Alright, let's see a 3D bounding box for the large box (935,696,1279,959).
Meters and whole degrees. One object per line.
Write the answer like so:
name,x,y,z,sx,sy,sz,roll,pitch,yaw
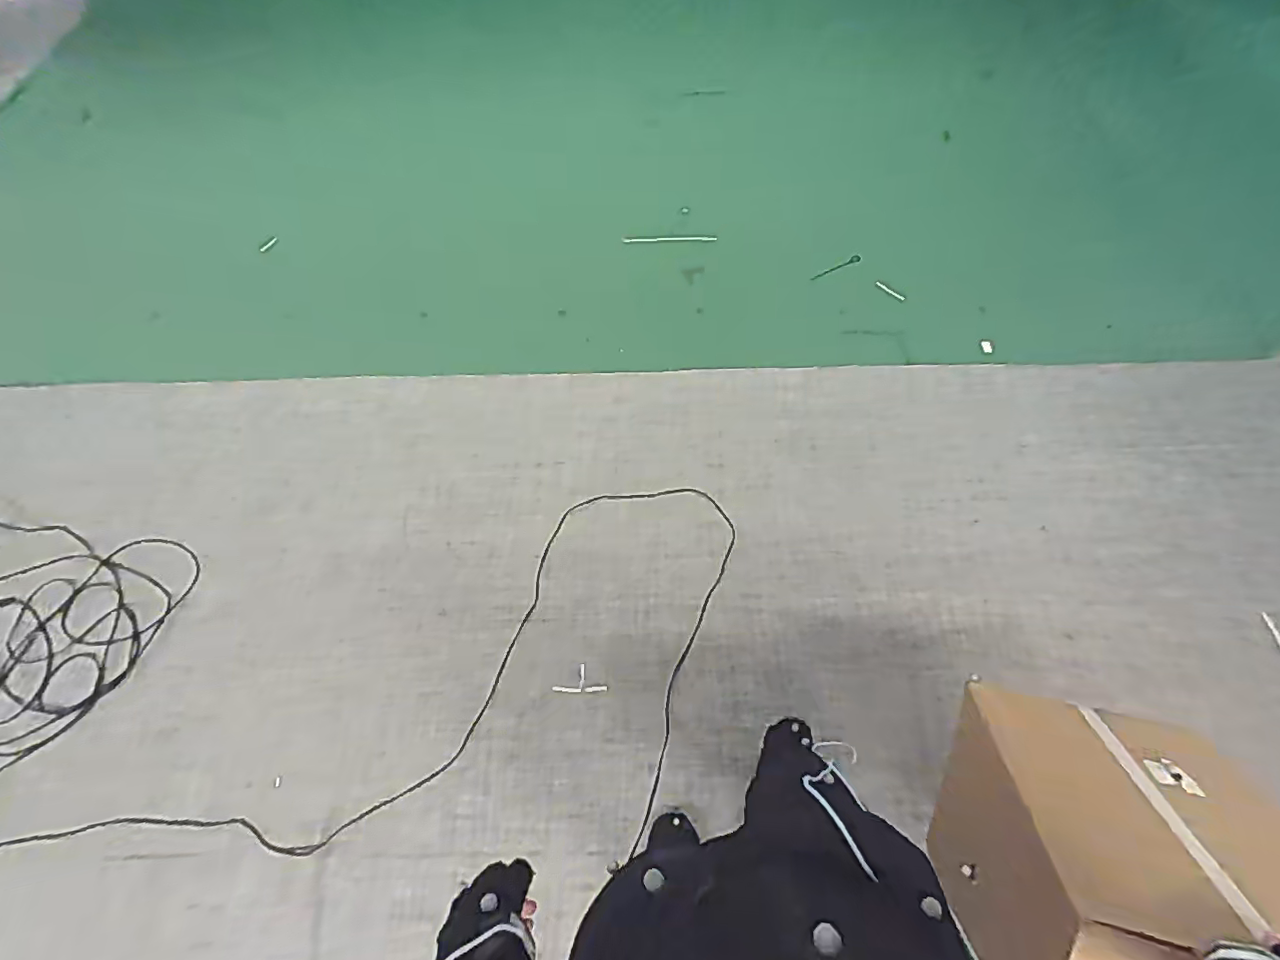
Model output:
large box,0.598,0.545,0.664,0.320,0.408,0.320,10,103,16
